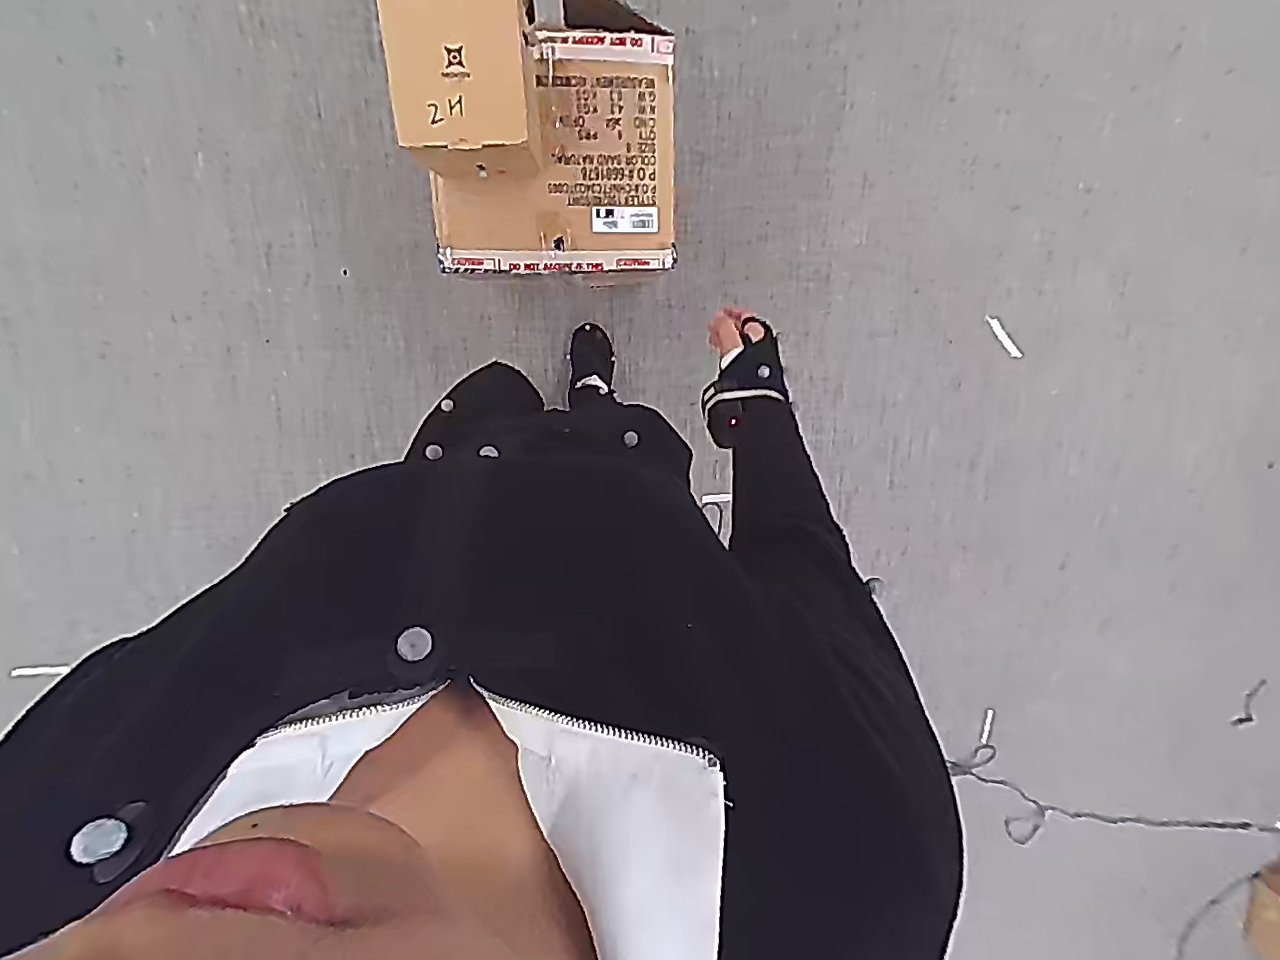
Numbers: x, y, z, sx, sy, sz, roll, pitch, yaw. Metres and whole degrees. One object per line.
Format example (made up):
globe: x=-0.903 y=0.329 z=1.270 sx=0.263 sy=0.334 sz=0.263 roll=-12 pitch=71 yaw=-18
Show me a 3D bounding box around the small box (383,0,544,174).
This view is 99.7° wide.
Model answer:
small box: x=-0.227 y=-0.536 z=0.740 sx=0.168 sy=0.176 sz=0.179 roll=-3 pitch=109 yaw=-2
